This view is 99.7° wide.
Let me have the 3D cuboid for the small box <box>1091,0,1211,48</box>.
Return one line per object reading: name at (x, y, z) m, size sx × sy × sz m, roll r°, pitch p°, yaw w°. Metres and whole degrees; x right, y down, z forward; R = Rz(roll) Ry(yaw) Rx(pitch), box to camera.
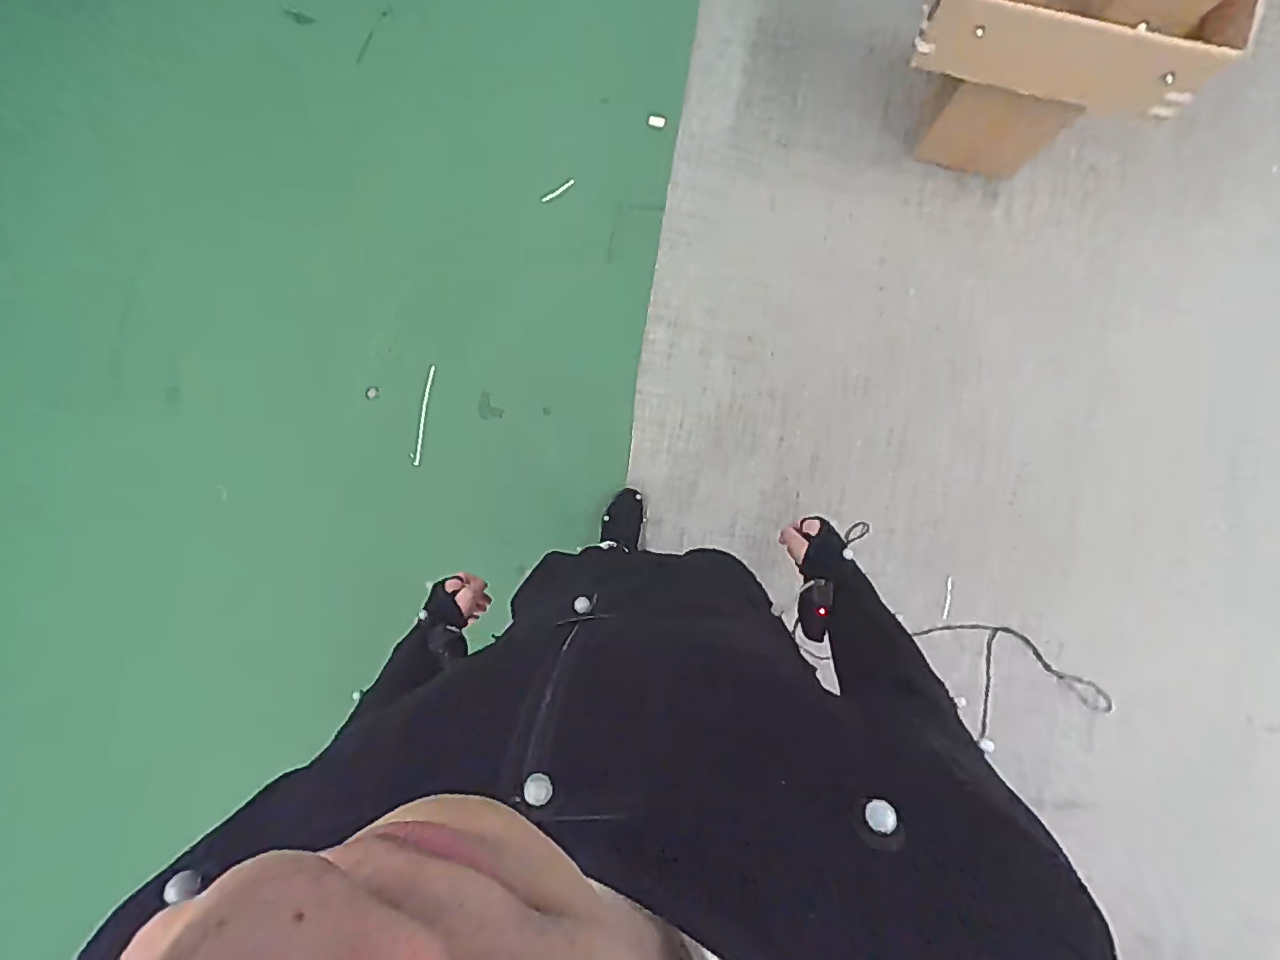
small box at (1.102, -1.070, 1.129) m, size 0.168 × 0.176 × 0.179 m, roll 19°, pitch 90°, yaw 3°
